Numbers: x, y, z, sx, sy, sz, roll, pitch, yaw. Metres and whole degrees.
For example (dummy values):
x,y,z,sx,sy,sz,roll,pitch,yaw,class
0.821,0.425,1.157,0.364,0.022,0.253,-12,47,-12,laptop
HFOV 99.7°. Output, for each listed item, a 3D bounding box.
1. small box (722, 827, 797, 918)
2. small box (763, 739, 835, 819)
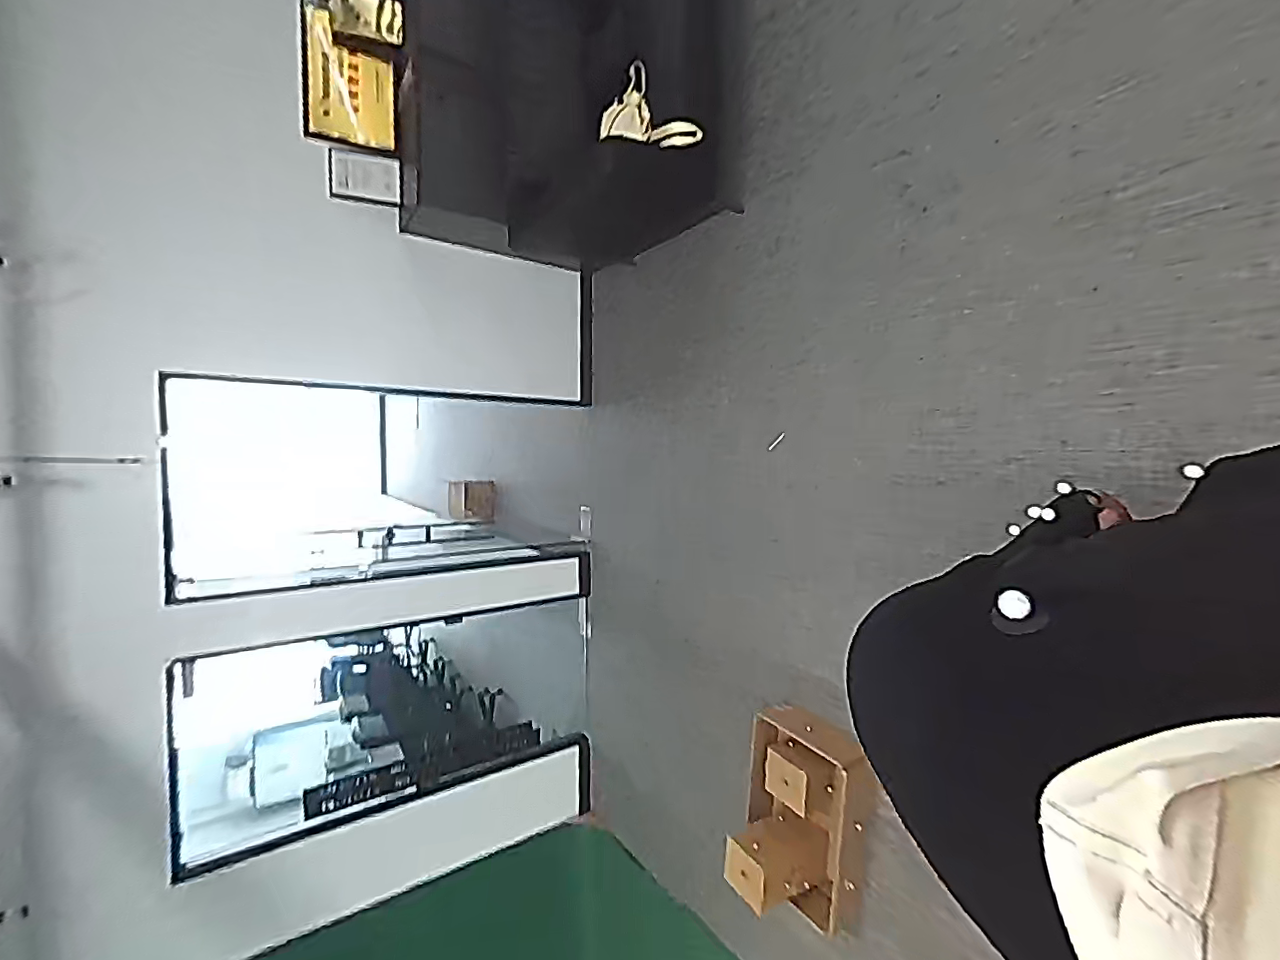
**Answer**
x,y,z,sx,sy,sz,roll,pitch,yaw,class
0.410,1.336,1.861,0.179,0.176,0.168,12,100,55,small box
0.562,1.050,1.919,0.179,0.176,0.168,12,102,54,small box
